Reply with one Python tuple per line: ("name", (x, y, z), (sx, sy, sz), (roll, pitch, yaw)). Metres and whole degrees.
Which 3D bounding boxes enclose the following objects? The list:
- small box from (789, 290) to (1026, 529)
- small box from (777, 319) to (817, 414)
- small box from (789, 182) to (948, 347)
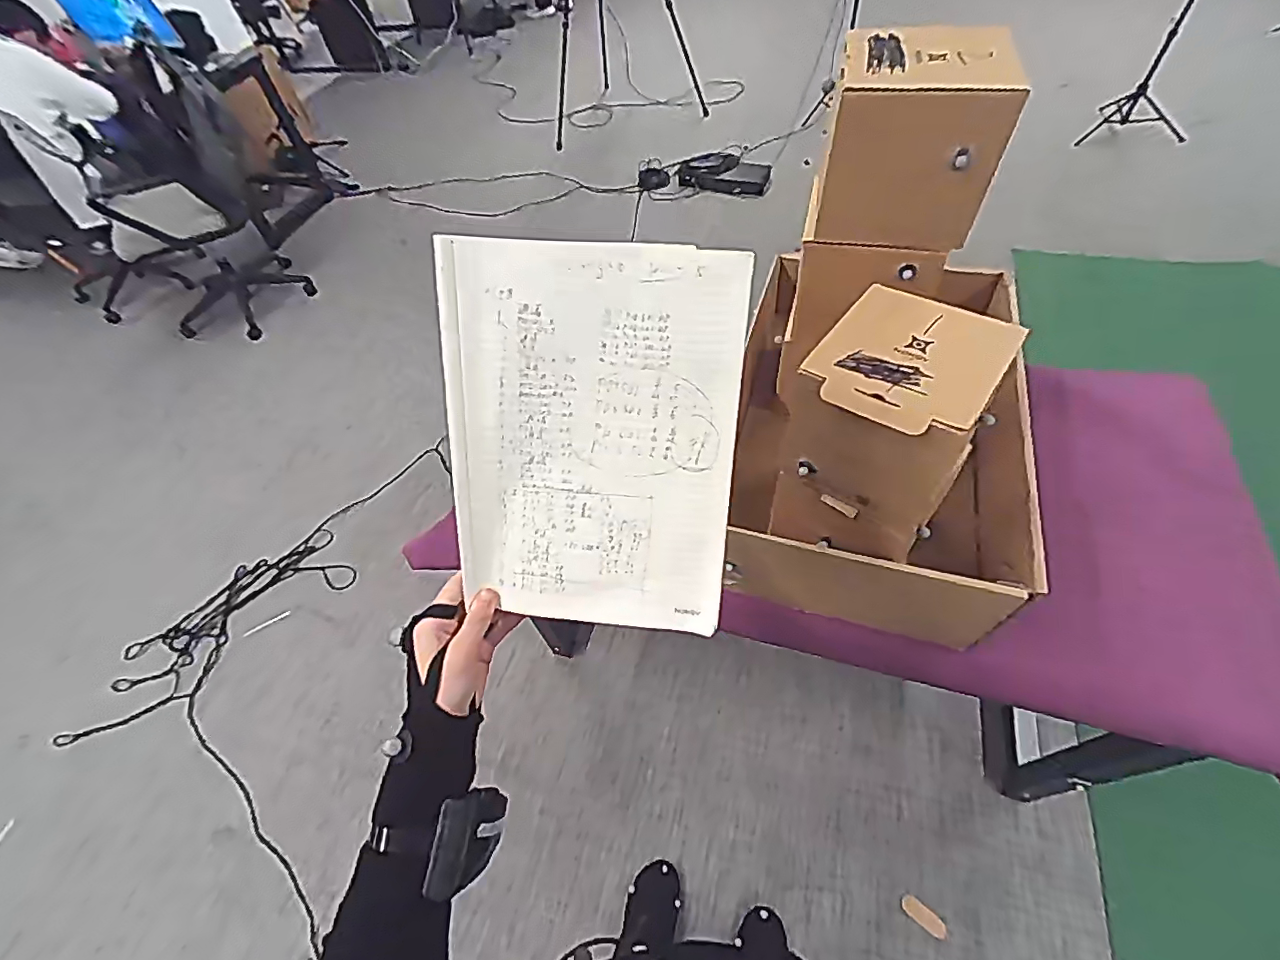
("small box", (0.282, -0.077, 0.605), (0.168, 0.176, 0.179), (30, 61, 27))
("small box", (0.330, -0.210, 0.909), (0.168, 0.176, 0.179), (12, 58, 15))
("small box", (0.317, -0.300, 0.775), (0.179, 0.176, 0.168), (10, 57, 14))
